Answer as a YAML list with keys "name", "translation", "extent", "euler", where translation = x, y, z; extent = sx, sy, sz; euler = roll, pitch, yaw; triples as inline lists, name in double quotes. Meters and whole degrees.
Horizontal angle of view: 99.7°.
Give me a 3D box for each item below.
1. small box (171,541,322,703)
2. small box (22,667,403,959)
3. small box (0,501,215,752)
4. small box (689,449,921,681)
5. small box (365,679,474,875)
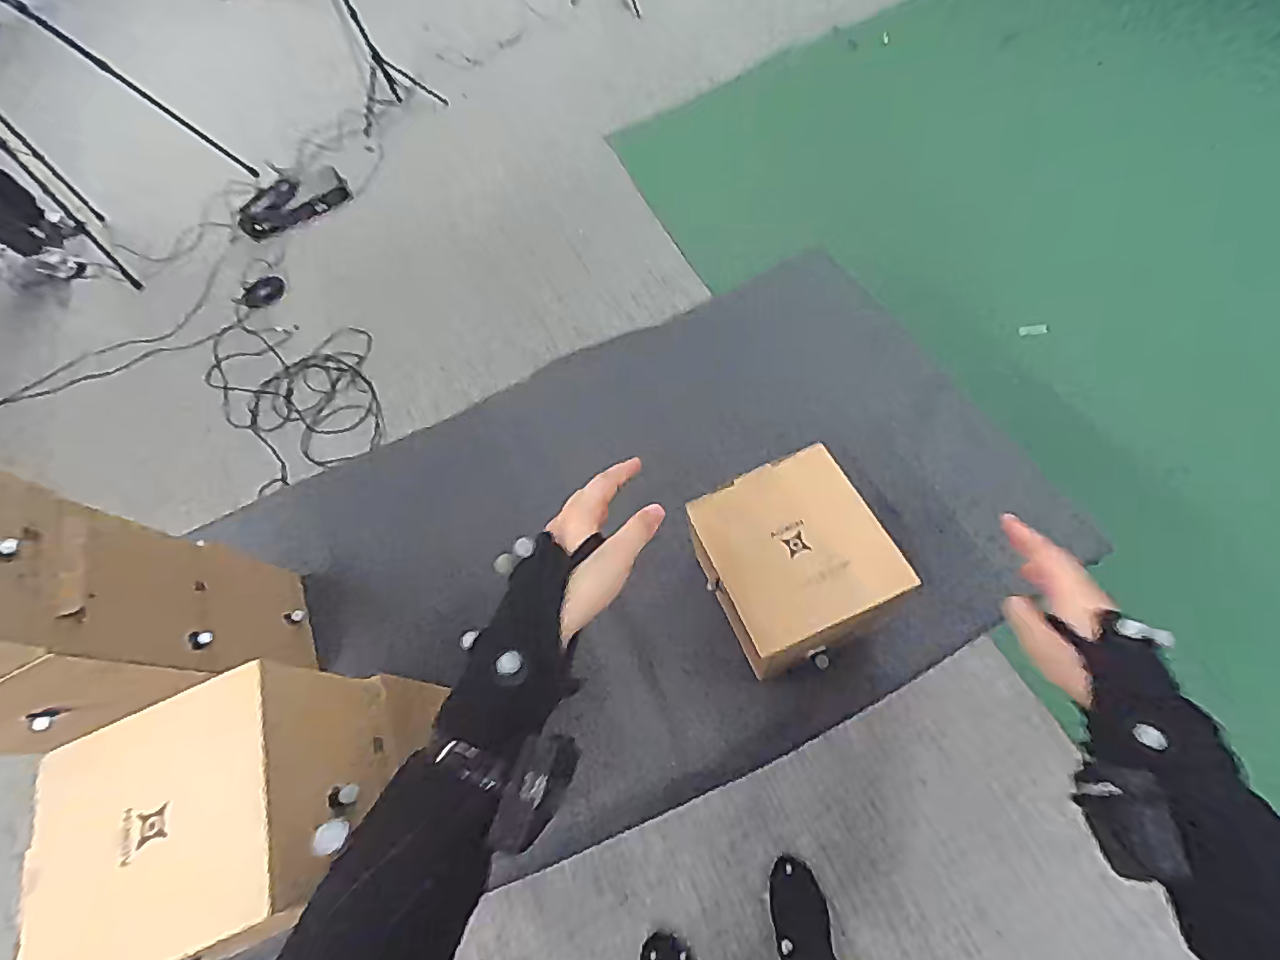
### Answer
- name: "small box"
  translation: [-0.551, 0.213, 0.698]
  extent: [0.168, 0.176, 0.179]
  euler: [-29, 62, -4]
- name: "small box"
  translation: [-0.314, 0.270, 0.434]
  extent: [0.179, 0.176, 0.168]
  euler: [-25, 62, -1]
- name: "small box"
  translation: [-0.571, 0.153, 0.545]
  extent: [0.179, 0.176, 0.168]
  euler: [-28, 63, -3]
- name: "small box"
  translation: [0.170, 0.102, 0.604]
  extent: [0.168, 0.176, 0.179]
  euler: [-25, 60, -1]
- name: "small box"
  translation: [-0.297, 0.334, 0.583]
  extent: [0.179, 0.176, 0.168]
  euler: [-23, 61, -1]
